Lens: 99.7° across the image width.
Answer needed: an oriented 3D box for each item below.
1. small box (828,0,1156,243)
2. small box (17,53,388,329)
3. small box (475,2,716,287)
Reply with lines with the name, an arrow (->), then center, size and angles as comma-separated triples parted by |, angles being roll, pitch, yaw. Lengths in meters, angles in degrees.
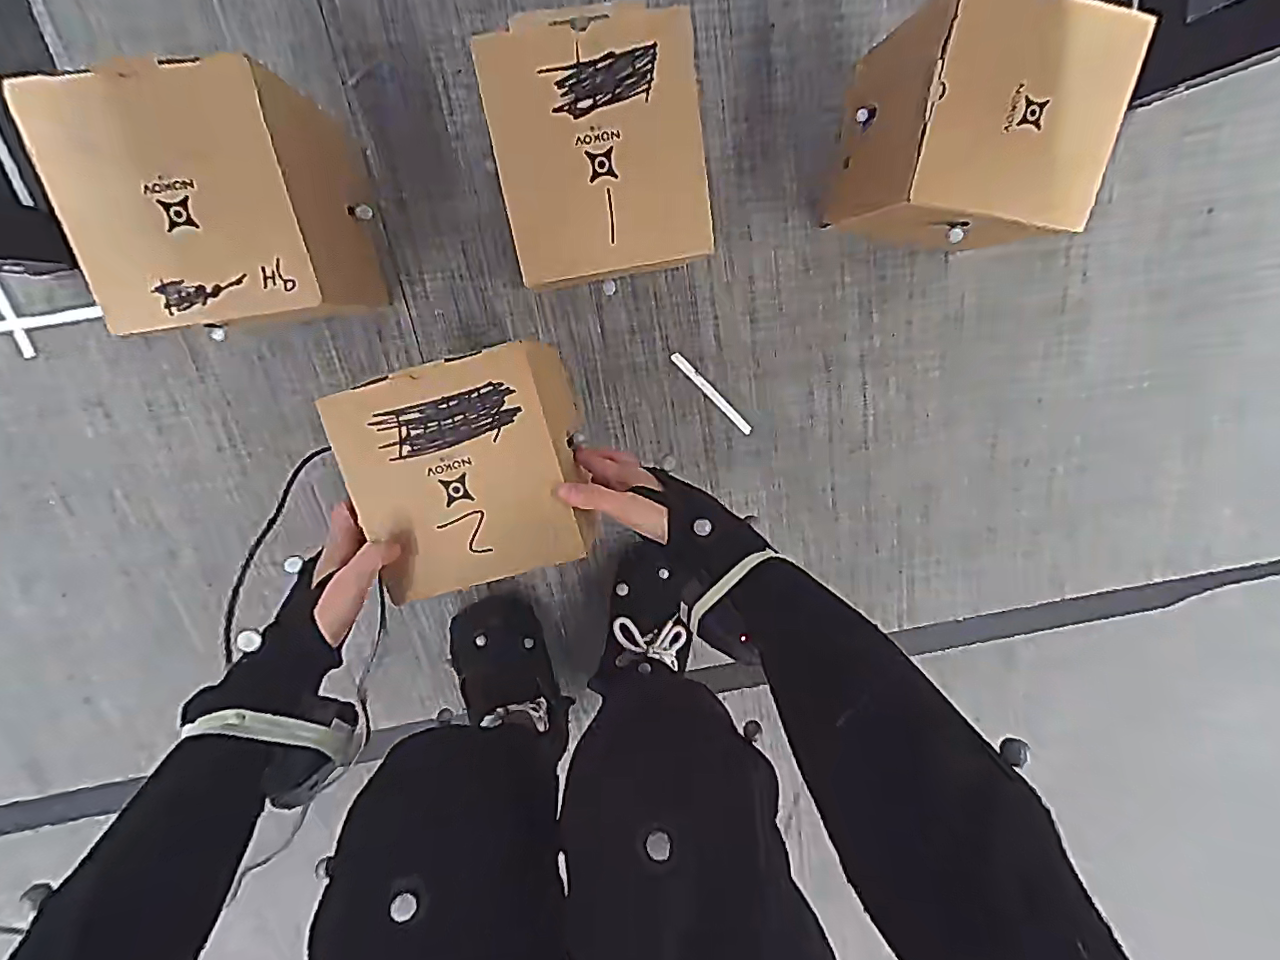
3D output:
small box -> 0.314, -0.334, 0.524 | 0.179, 0.176, 0.168 | 6, 107, -7
small box -> -0.350, -0.232, 0.479 | 0.168, 0.176, 0.179 | -9, 107, -4
small box -> -0.038, -0.283, 0.498 | 0.168, 0.176, 0.179 | -11, 109, -3
